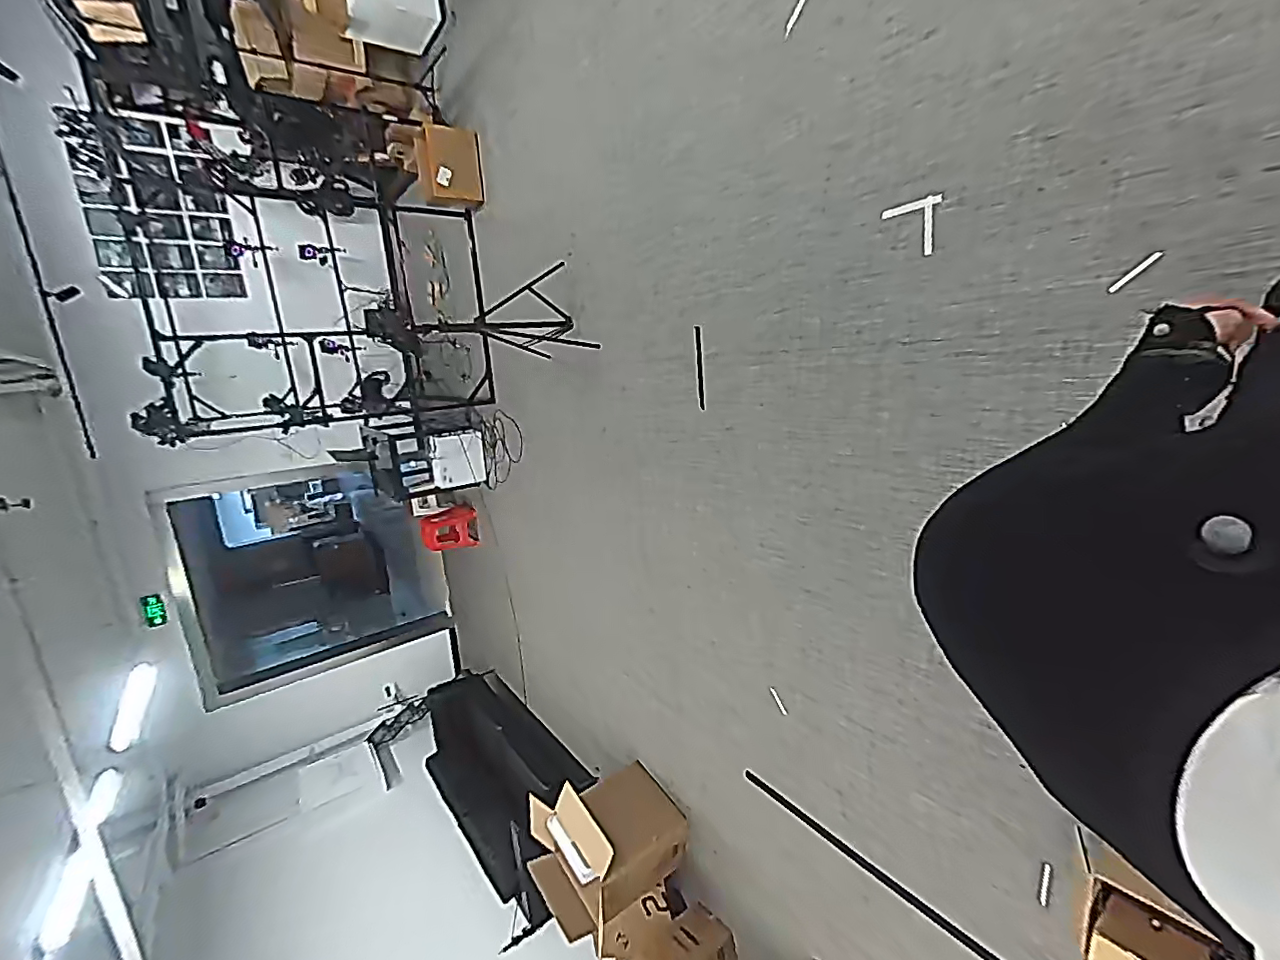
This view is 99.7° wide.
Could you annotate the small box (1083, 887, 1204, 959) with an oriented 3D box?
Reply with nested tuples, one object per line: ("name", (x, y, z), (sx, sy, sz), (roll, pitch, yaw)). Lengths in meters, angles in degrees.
("small box", (1.135, 1.092, 1.224), (0.168, 0.176, 0.179), (15, 113, 51))
